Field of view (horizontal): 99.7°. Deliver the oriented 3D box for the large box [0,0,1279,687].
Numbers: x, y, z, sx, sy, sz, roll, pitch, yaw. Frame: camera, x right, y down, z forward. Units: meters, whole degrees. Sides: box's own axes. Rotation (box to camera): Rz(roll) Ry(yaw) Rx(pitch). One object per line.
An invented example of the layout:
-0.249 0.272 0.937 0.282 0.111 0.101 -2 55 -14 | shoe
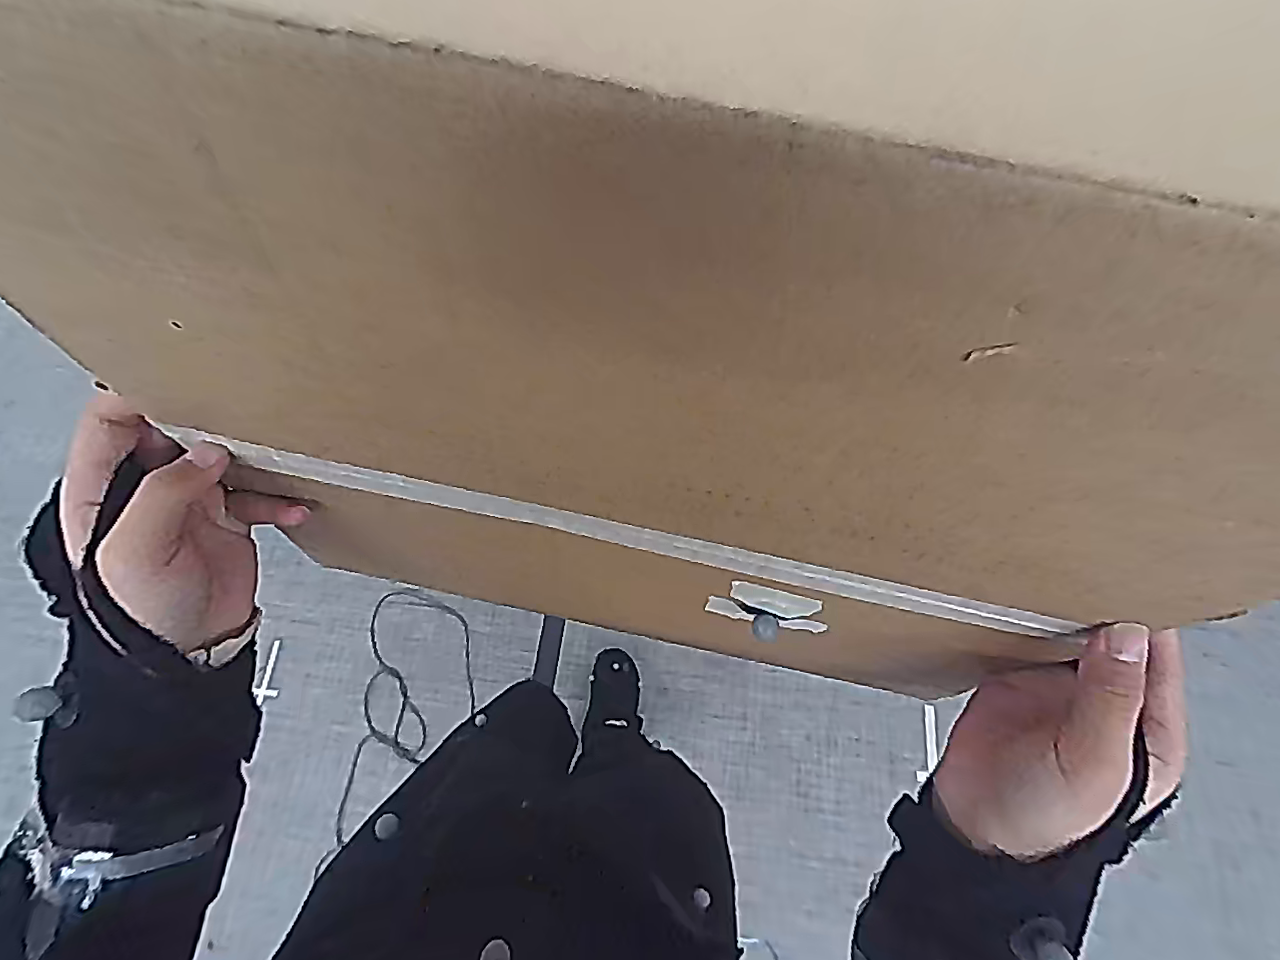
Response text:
0.025 -0.106 0.308 0.408 0.320 0.320 11 60 1 | large box
